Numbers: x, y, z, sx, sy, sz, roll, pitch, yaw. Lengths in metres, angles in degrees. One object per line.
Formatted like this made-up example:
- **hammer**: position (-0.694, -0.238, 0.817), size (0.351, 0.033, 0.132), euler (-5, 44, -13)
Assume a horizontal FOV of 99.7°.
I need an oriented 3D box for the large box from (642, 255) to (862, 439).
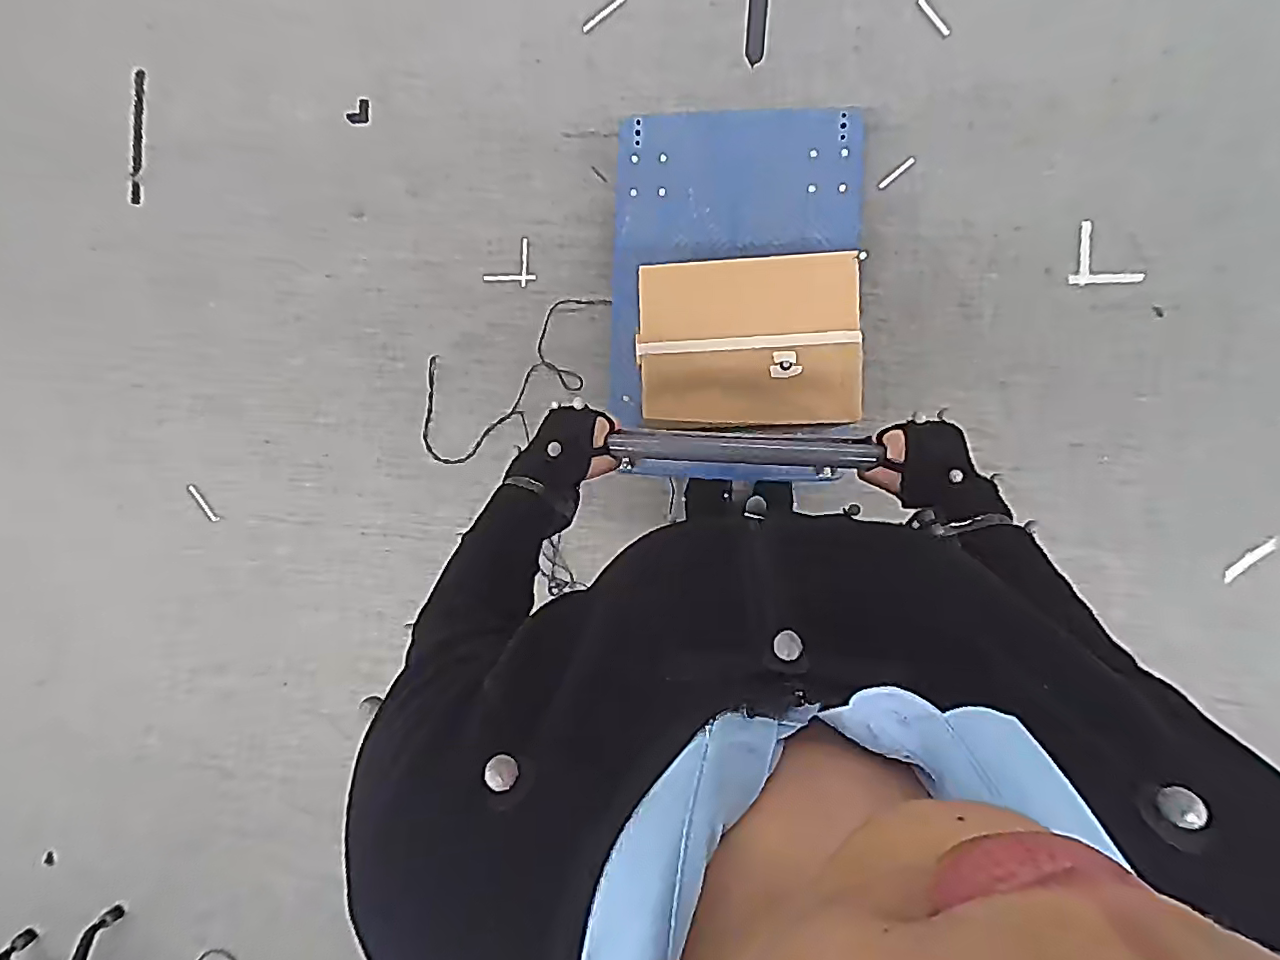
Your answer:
- **large box**: position (0.220, -0.258, 1.164), size (0.408, 0.320, 0.320), euler (-2, 93, 5)
